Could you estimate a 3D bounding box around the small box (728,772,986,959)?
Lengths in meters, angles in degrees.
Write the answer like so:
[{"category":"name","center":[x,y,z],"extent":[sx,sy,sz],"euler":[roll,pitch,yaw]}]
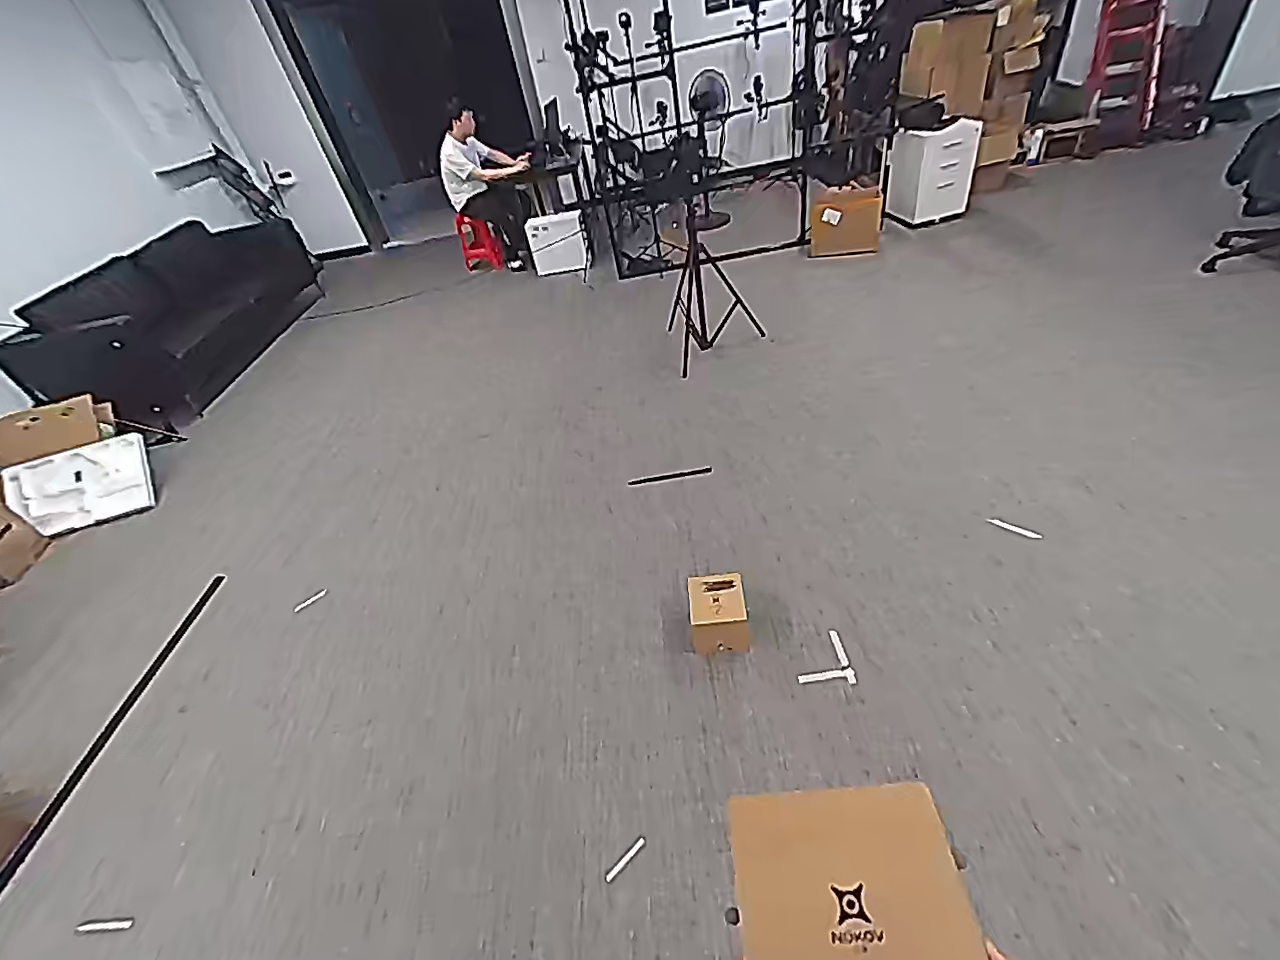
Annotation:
[{"category":"small box","center":[0.171,0.369,0.446],"extent":[0.168,0.176,0.179],"euler":[-11,42,10]}]
